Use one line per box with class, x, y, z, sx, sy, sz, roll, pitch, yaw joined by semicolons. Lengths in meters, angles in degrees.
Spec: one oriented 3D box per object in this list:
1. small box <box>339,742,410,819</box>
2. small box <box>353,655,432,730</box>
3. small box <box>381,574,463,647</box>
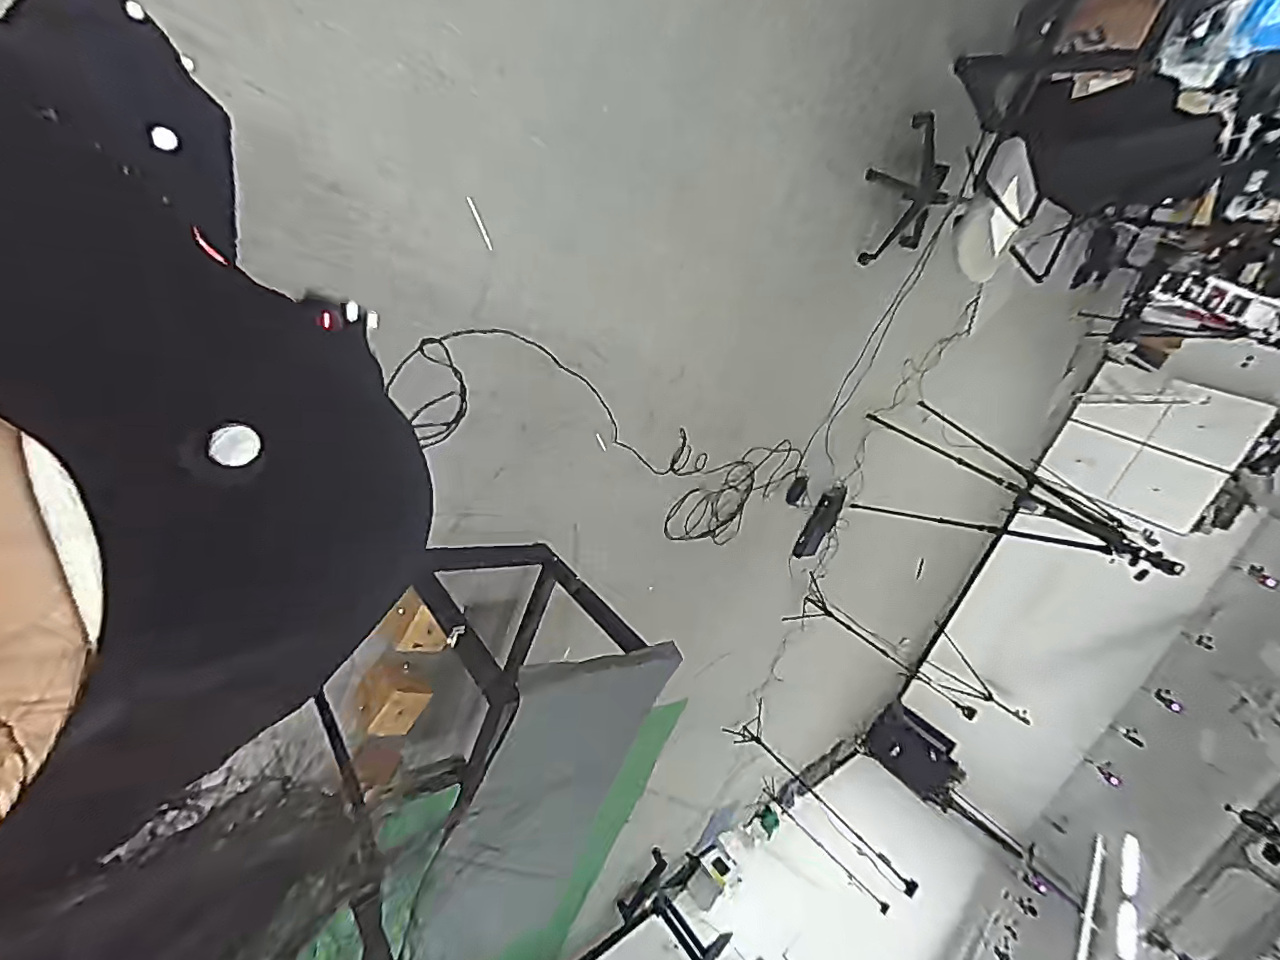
small box;-0.993;1.106;2.013;0.168;0.176;0.179;14;107;-48
small box;-0.869;0.741;1.882;0.179;0.176;0.168;-56;142;-1
small box;-0.731;0.433;1.803;0.168;0.176;0.179;24;98;-50
